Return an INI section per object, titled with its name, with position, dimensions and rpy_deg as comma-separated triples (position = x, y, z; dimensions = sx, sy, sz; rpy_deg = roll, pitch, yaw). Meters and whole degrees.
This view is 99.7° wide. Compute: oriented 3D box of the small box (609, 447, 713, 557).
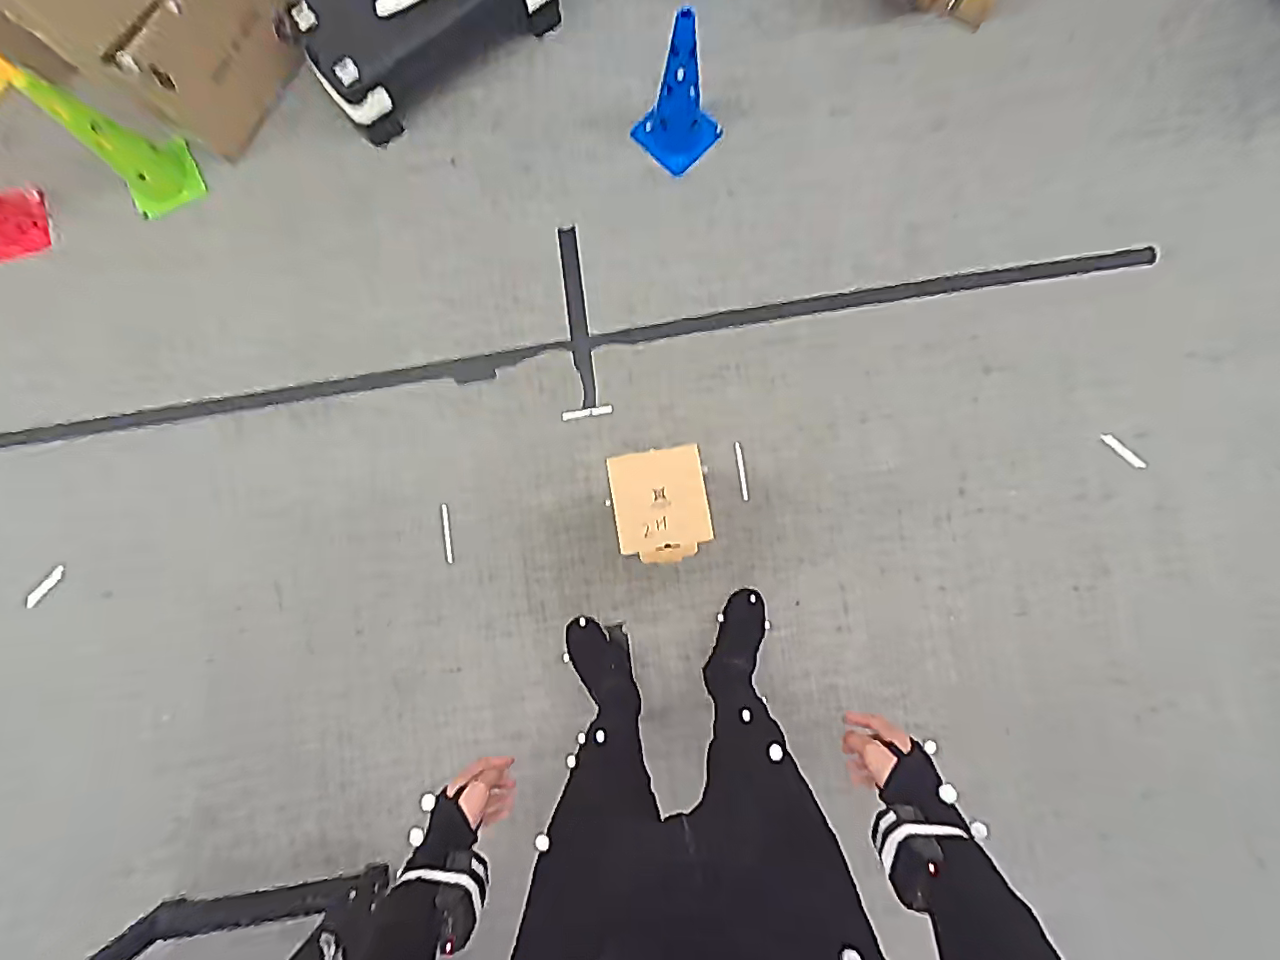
[small box]
position = 0.034, 0.047, 1.025
dimensions = 0.168, 0.176, 0.179
rpy_deg = -9, 84, -1
